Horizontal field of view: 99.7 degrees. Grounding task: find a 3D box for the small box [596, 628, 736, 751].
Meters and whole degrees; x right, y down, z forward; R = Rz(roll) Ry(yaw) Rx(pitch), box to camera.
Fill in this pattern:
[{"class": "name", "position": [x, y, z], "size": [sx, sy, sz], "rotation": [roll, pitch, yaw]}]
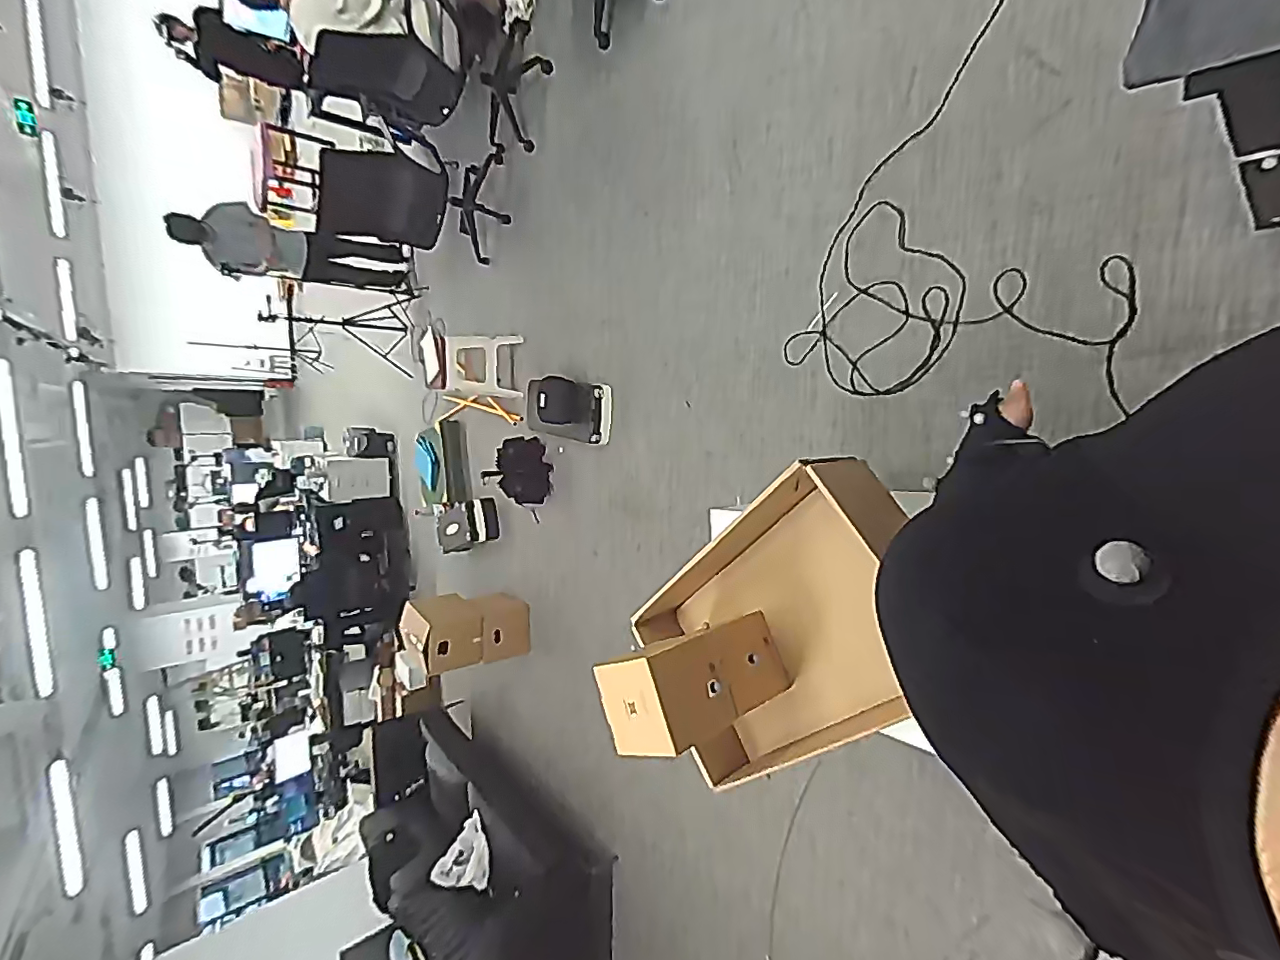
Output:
[{"class": "small box", "position": [0.048, 0.391, 1.020], "size": [0.179, 0.176, 0.168], "rotation": [-32, 73, 46]}]
